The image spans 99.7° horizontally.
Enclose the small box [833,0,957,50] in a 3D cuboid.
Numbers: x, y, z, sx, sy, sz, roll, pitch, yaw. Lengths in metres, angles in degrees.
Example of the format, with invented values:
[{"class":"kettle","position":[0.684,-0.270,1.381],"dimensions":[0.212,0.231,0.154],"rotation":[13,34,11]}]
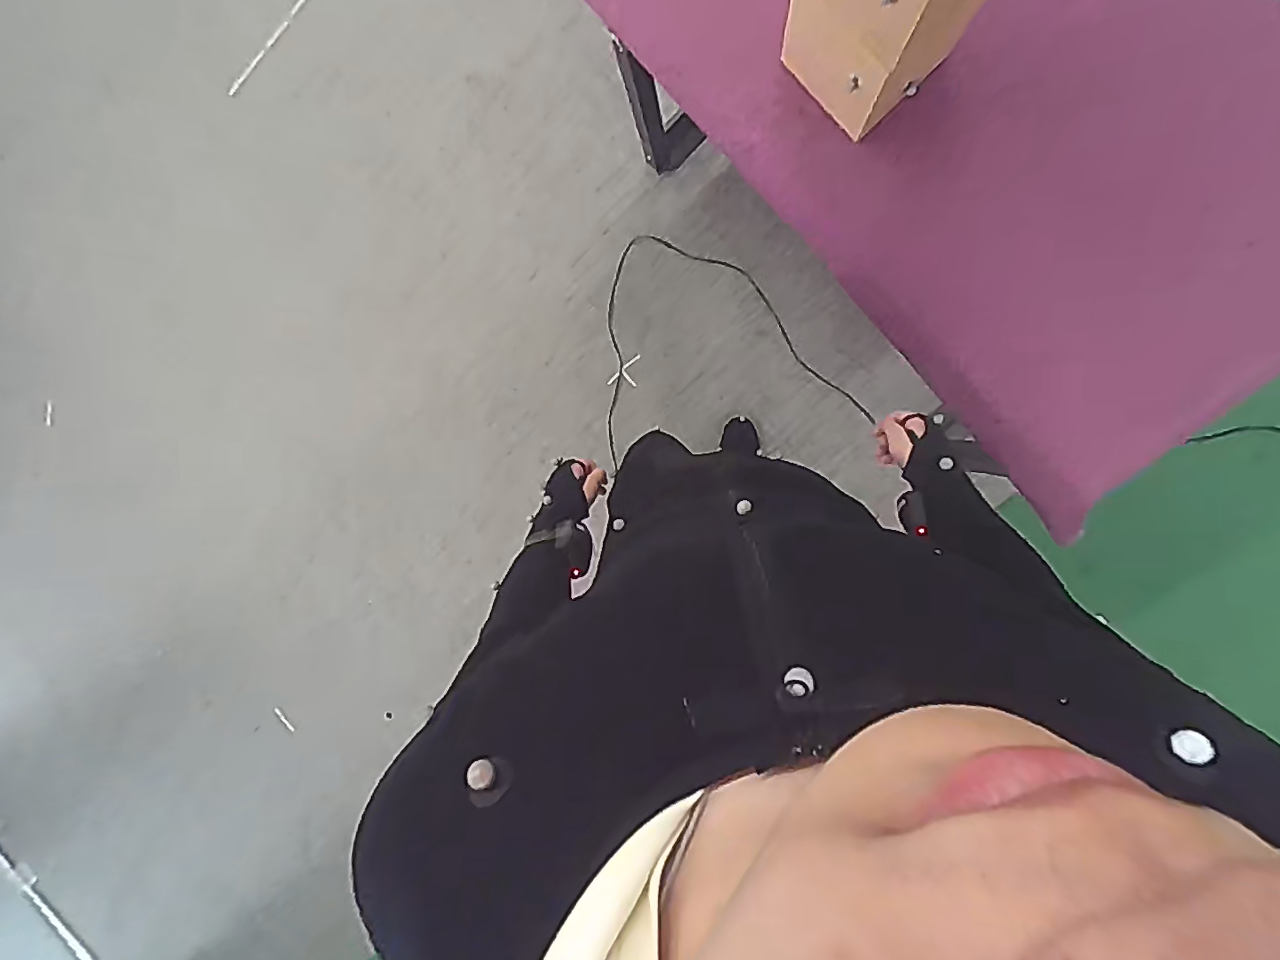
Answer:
[{"class":"small box","position":[0.299,-0.609,0.566],"dimensions":[0.168,0.176,0.179],"rotation":[-42,89,10]}]
